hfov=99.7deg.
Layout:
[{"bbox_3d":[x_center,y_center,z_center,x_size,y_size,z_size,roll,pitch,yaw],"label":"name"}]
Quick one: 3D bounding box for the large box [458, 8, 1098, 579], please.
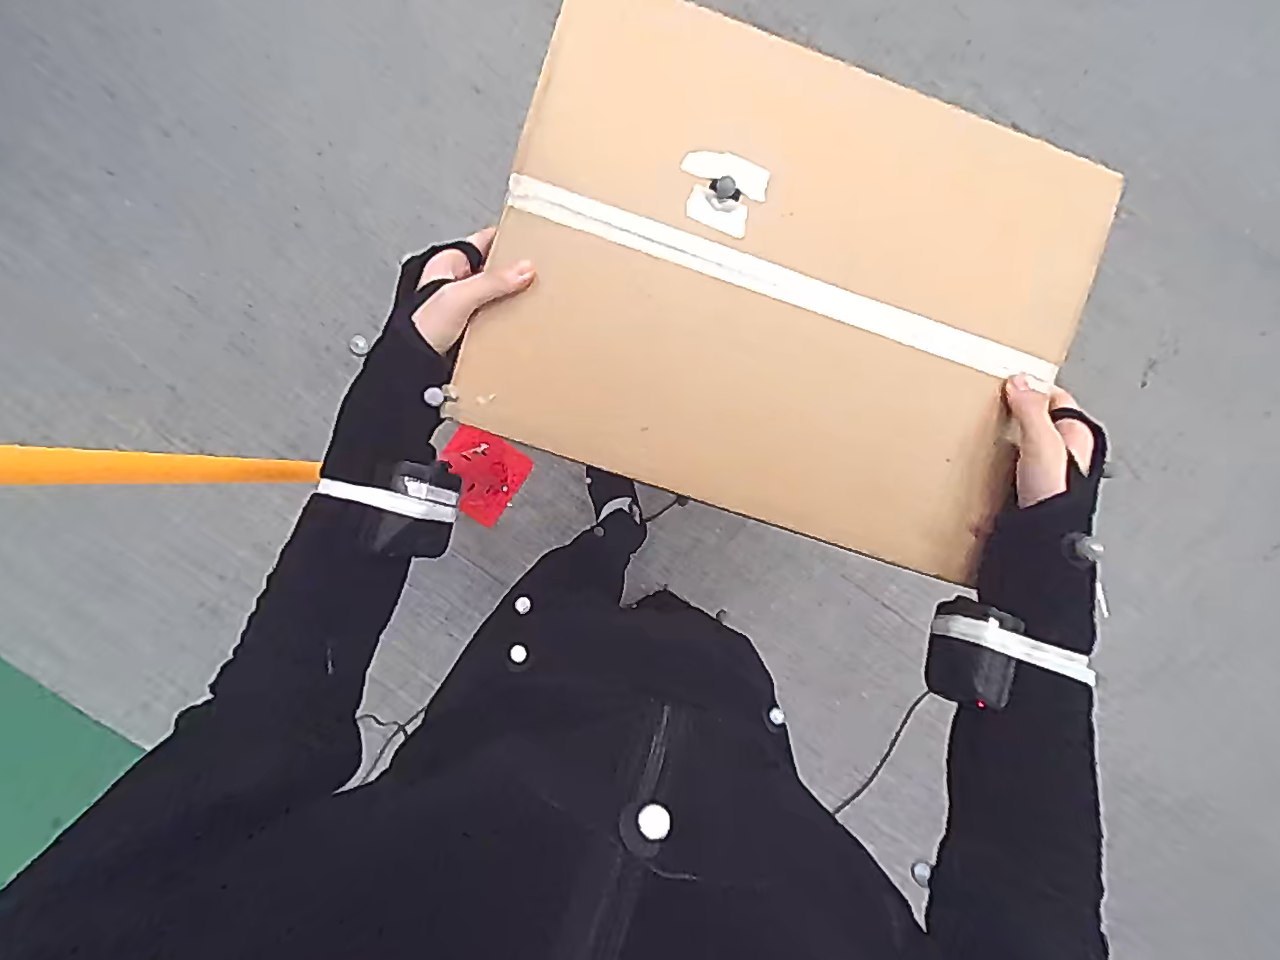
[{"bbox_3d":[0.097,-0.136,0.539,0.408,0.320,0.320,18,93,-3],"label":"large box"}]
